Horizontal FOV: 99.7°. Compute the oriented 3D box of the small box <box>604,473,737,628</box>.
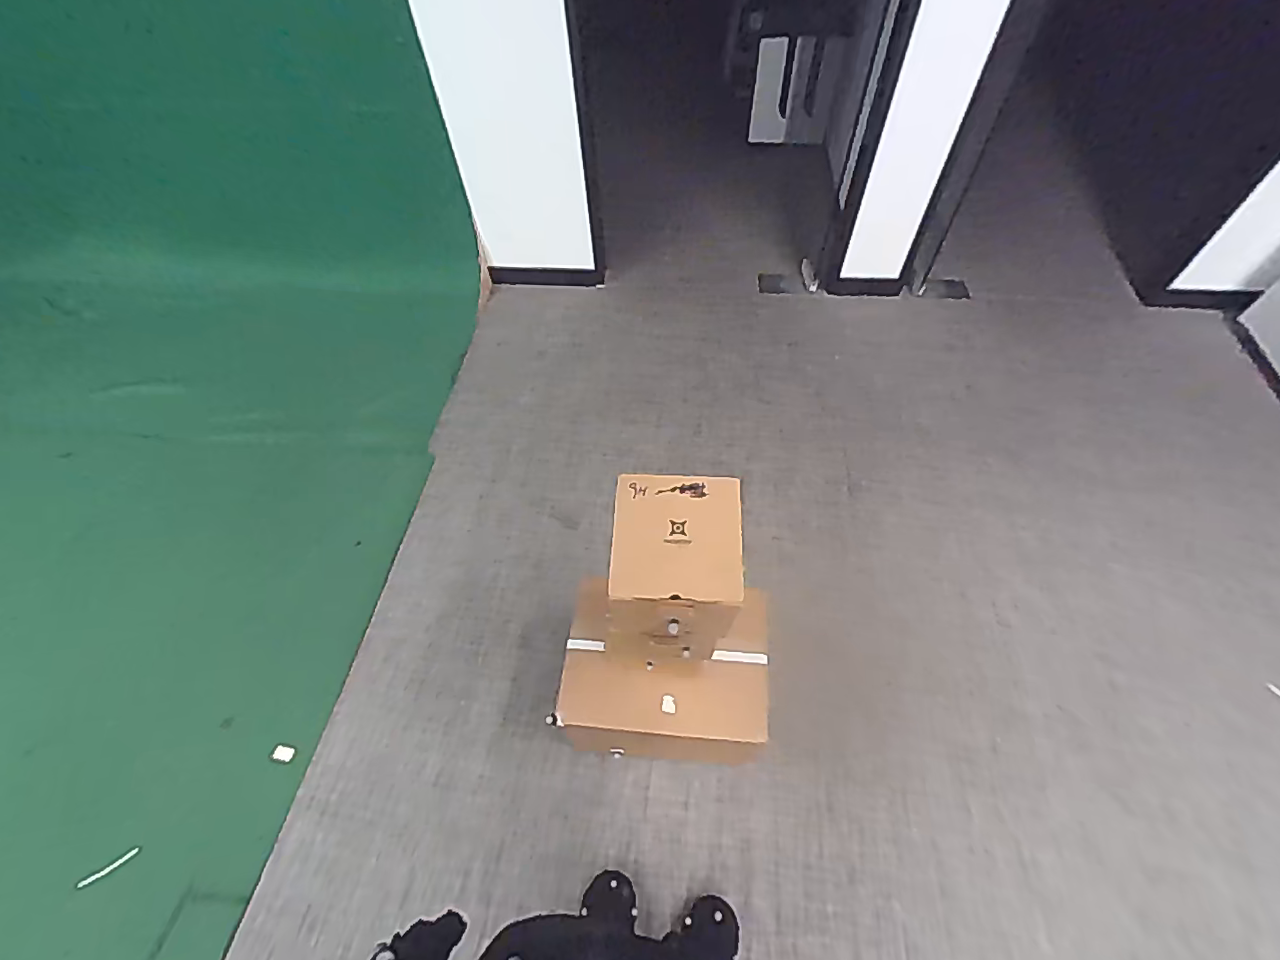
[{"bbox_3d":[0.046,0.106,0.765,0.168,0.176,0.179,1,62,4],"label":"small box"}]

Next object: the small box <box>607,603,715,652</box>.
[{"bbox_3d":[0.040,0.184,0.909,0.168,0.176,0.179,2,61,3],"label":"small box"}]

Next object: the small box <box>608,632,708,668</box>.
[{"bbox_3d":[0.040,0.264,1.050,0.179,0.176,0.168,3,62,5],"label":"small box"}]
